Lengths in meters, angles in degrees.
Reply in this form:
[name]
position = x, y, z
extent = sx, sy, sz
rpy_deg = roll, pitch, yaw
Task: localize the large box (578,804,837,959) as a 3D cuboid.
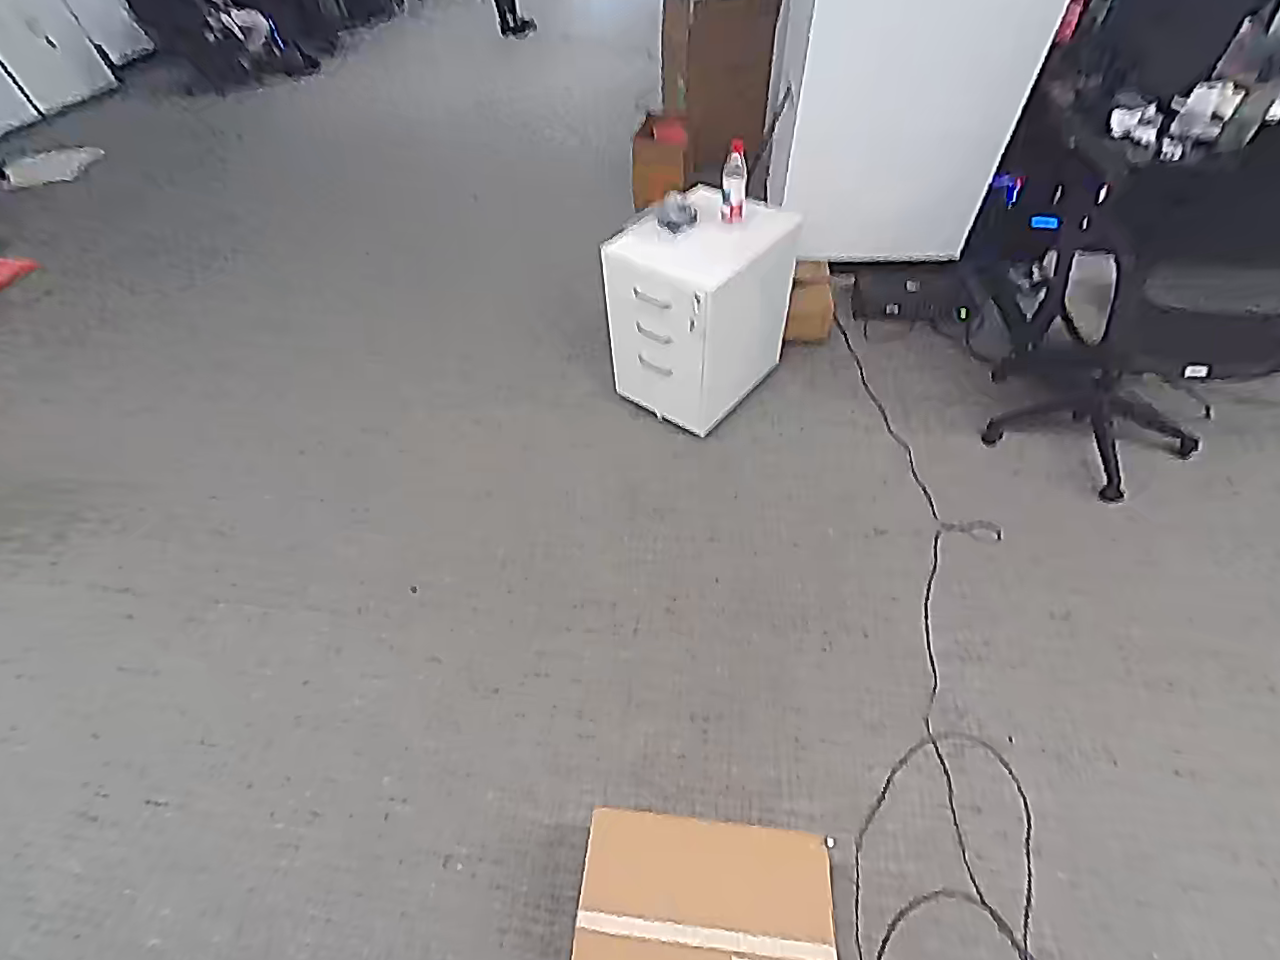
[large box]
position = 0.110, 0.806, 0.967
extent = 0.408, 0.320, 0.320
rpy_deg = 4, 51, 6
